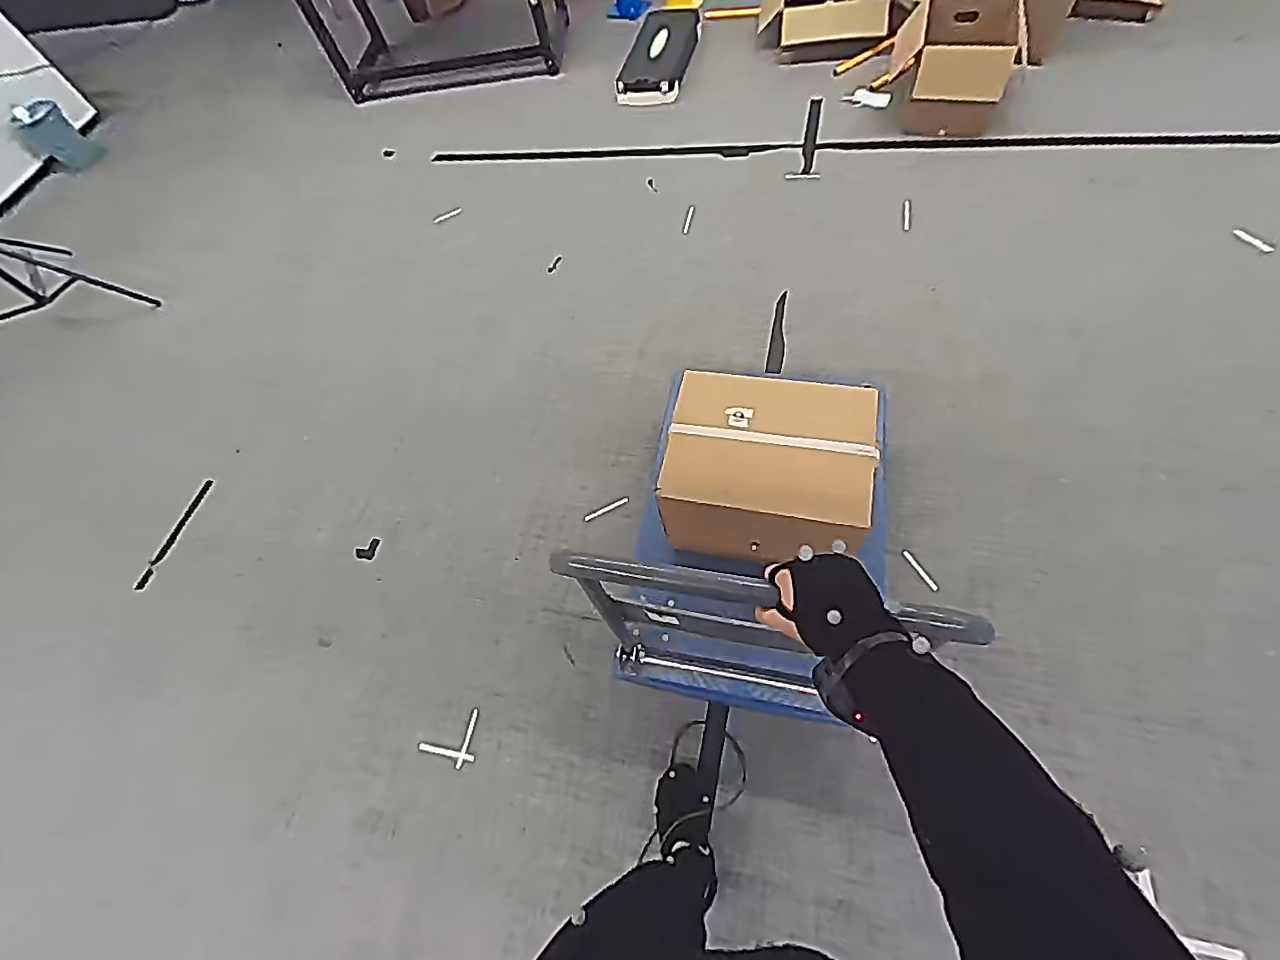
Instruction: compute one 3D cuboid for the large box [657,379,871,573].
[{"bbox_3d":[0.283,-0.002,1.233,0.408,0.320,0.320,8,63,15],"label":"large box"}]
